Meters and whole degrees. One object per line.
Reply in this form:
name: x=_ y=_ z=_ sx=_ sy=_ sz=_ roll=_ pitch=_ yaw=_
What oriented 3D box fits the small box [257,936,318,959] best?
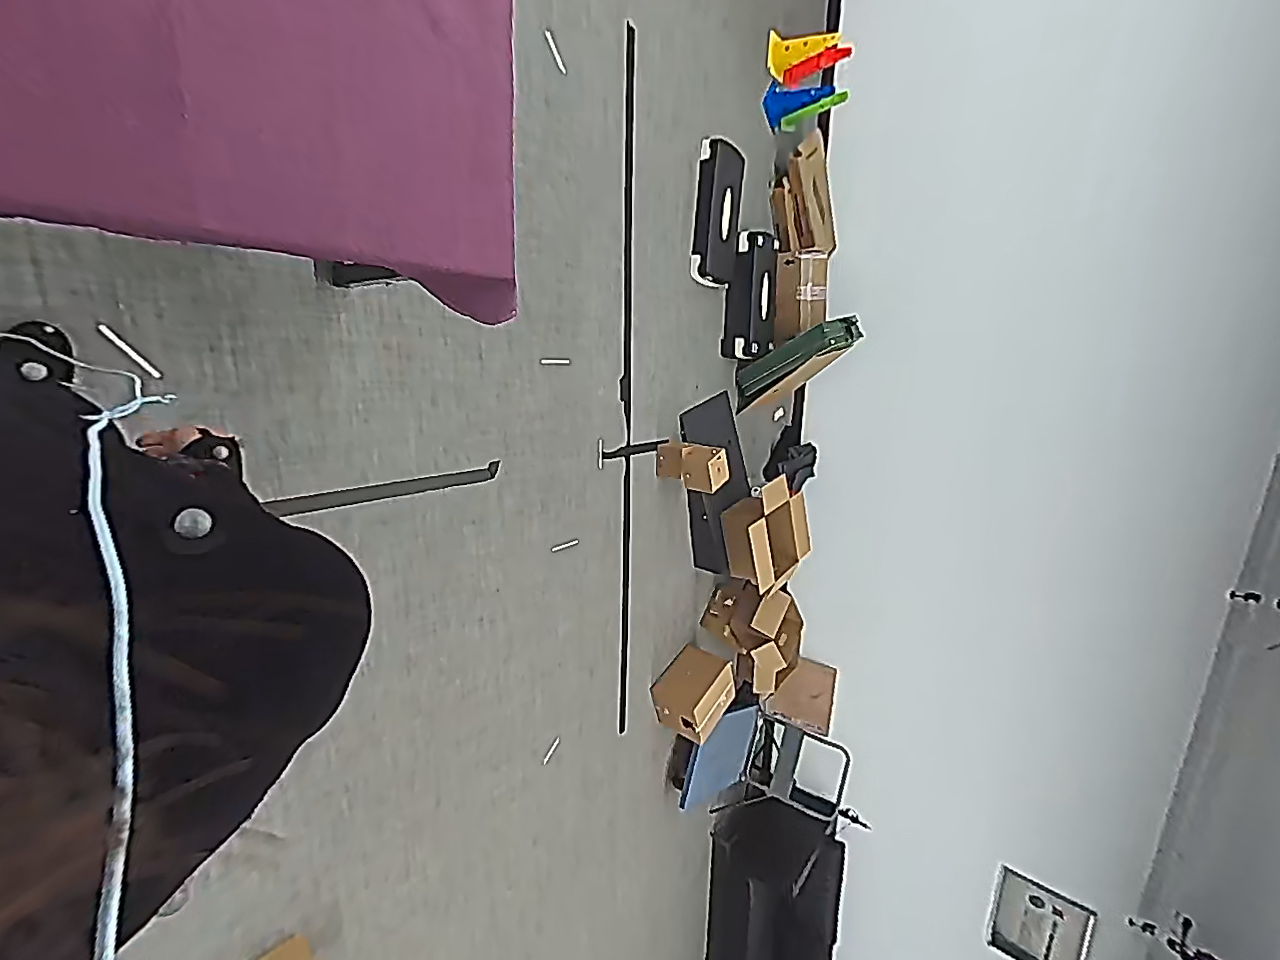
small box: x=-1.096 y=1.558 z=1.653 sx=0.168 sy=0.176 sz=0.179 roll=-13 pitch=111 yaw=-51
